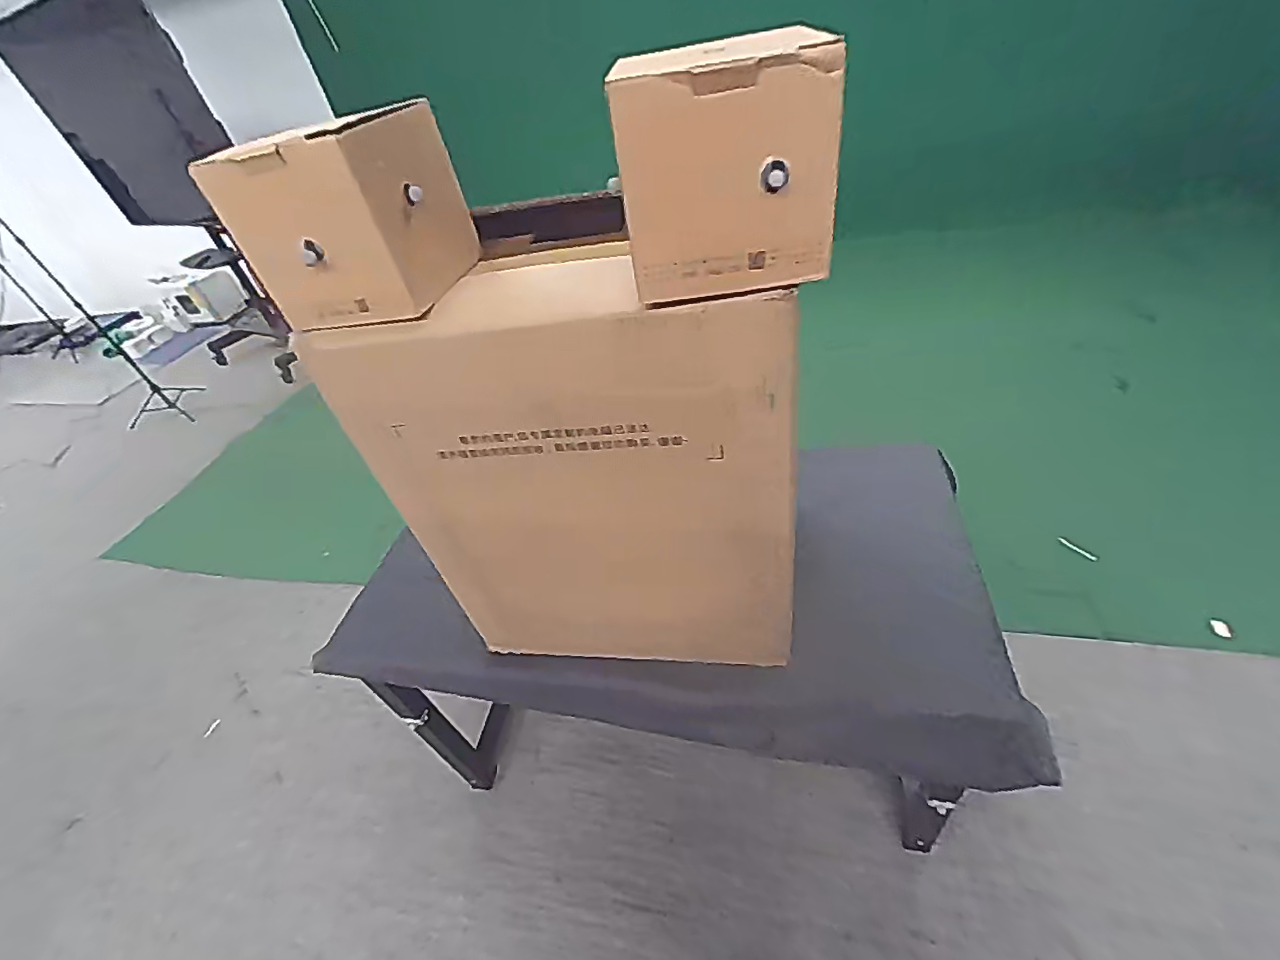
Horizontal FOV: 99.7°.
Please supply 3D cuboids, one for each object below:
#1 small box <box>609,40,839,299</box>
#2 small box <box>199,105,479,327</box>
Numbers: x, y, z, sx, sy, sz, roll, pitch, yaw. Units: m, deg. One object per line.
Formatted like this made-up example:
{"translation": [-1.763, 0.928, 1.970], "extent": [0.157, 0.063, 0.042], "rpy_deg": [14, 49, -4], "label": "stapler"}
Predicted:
{"translation": [0.071, -0.275, 0.491], "extent": [0.168, 0.176, 0.179], "rpy_deg": [-4, 41, 6], "label": "small box"}
{"translation": [-0.301, -0.278, 0.589], "extent": [0.168, 0.176, 0.179], "rpy_deg": [-1, 43, 14], "label": "small box"}
